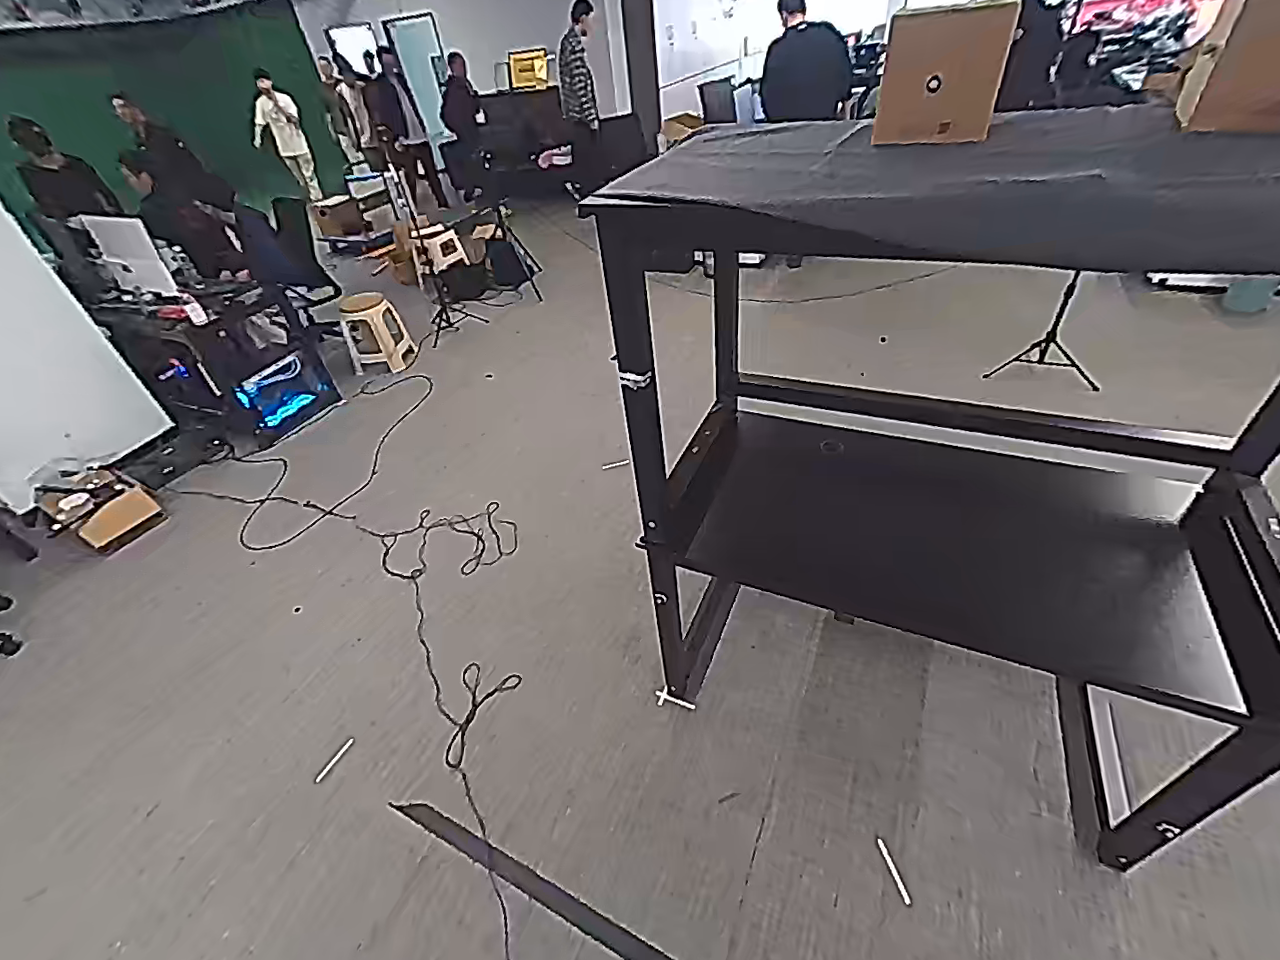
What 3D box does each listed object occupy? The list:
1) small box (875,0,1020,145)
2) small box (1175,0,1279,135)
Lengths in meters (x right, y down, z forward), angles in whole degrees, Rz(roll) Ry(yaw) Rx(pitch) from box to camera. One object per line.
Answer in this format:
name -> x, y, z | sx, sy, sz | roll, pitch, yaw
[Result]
small box -> 0.483, -0.646, 0.863 | 0.168, 0.176, 0.179 | 13, 45, 22
small box -> 0.858, -0.565, 0.711 | 0.168, 0.176, 0.179 | 18, 46, 26
